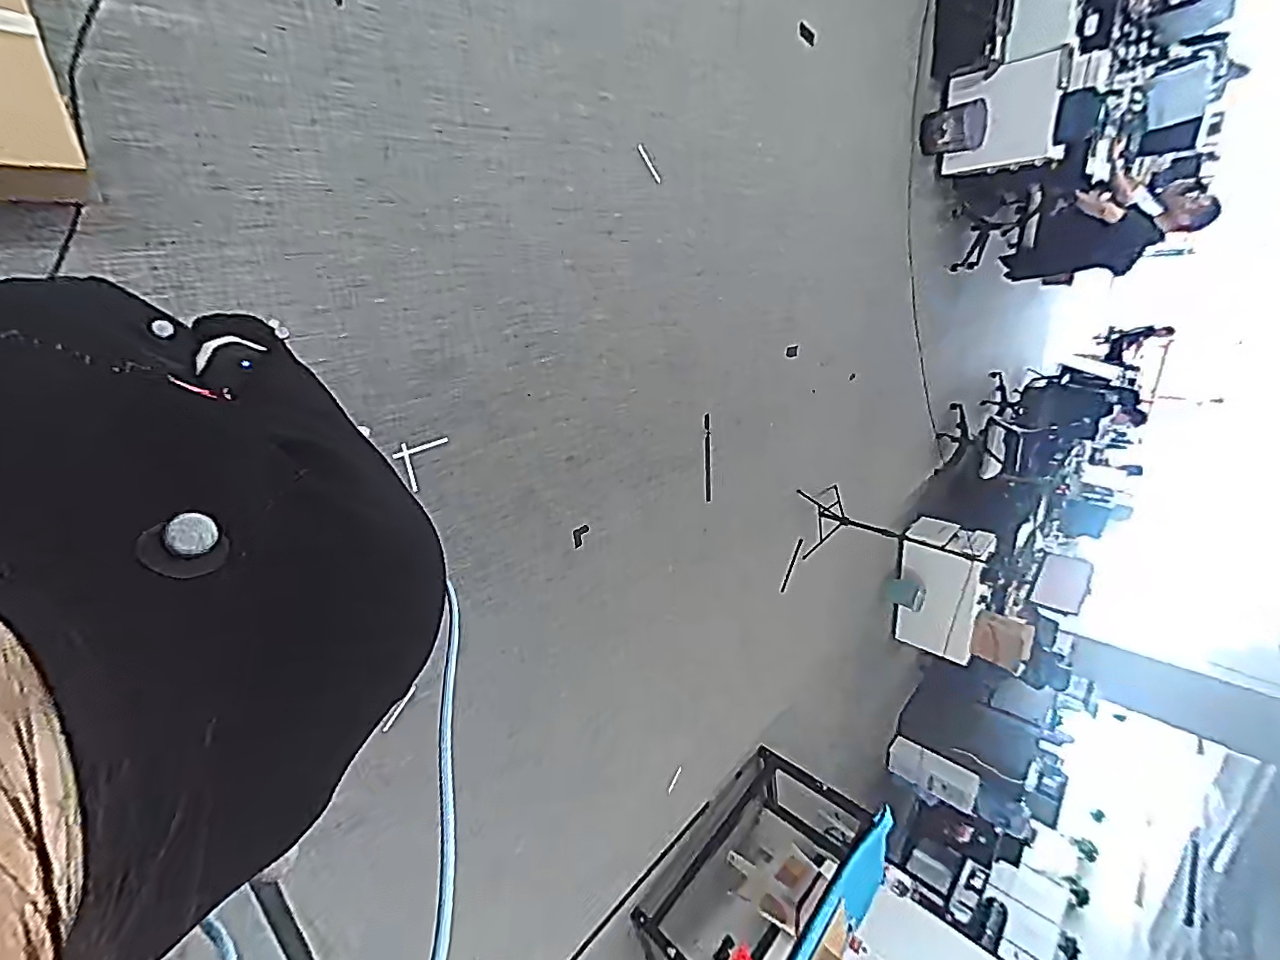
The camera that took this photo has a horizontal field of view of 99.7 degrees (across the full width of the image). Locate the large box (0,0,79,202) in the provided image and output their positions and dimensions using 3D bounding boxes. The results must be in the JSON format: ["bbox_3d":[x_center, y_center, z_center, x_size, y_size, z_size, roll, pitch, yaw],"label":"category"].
[{"bbox_3d":[-1.009,-0.529,0.646,0.408,0.320,0.320,-23,118,-41],"label":"large box"}]
